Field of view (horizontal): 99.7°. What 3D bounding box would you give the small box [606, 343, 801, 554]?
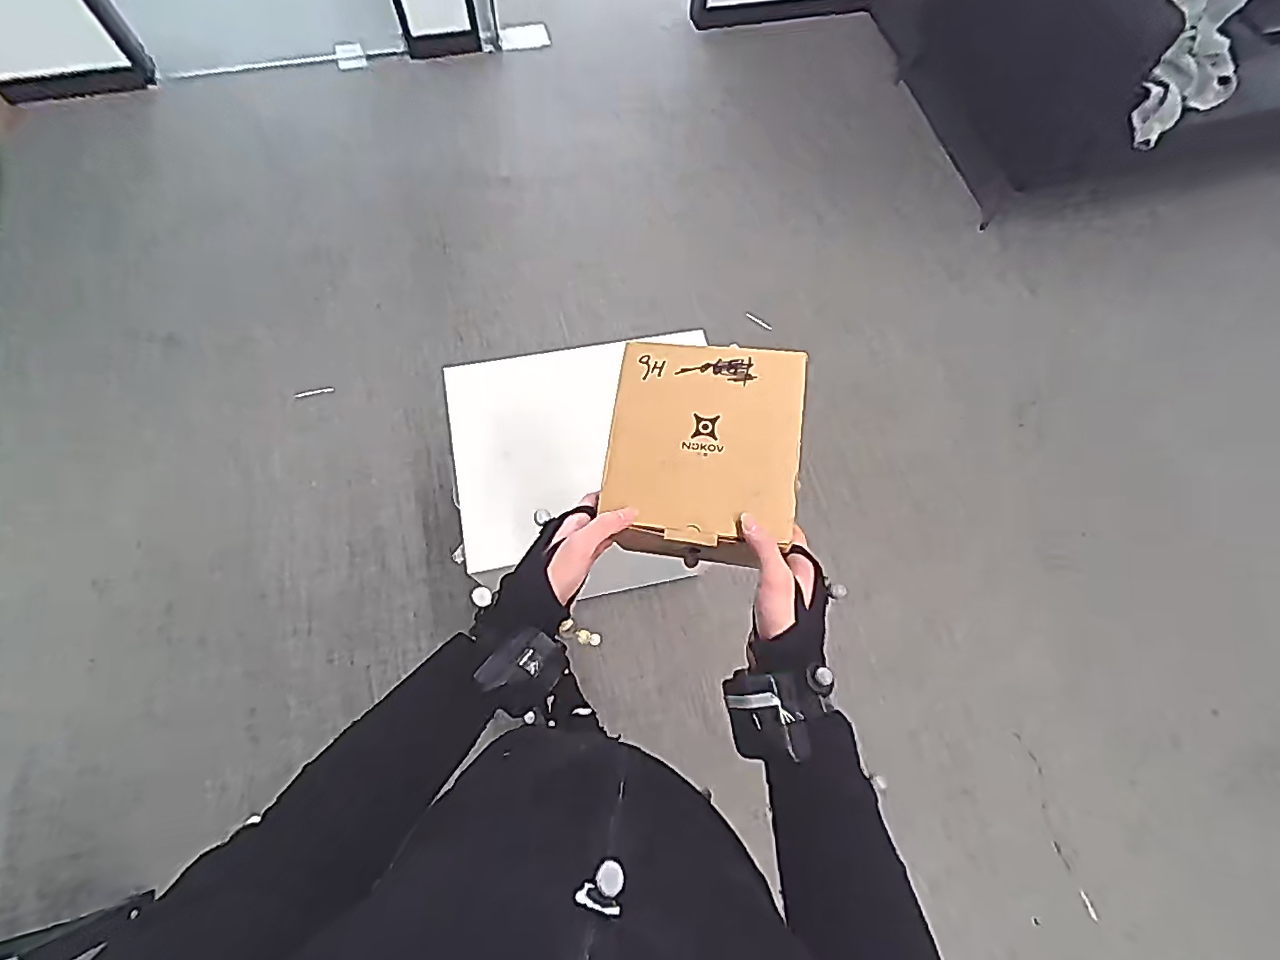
[{"bbox_3d":[0.070,-0.022,0.558,0.168,0.176,0.179,3,75,10],"label":"small box"}]
